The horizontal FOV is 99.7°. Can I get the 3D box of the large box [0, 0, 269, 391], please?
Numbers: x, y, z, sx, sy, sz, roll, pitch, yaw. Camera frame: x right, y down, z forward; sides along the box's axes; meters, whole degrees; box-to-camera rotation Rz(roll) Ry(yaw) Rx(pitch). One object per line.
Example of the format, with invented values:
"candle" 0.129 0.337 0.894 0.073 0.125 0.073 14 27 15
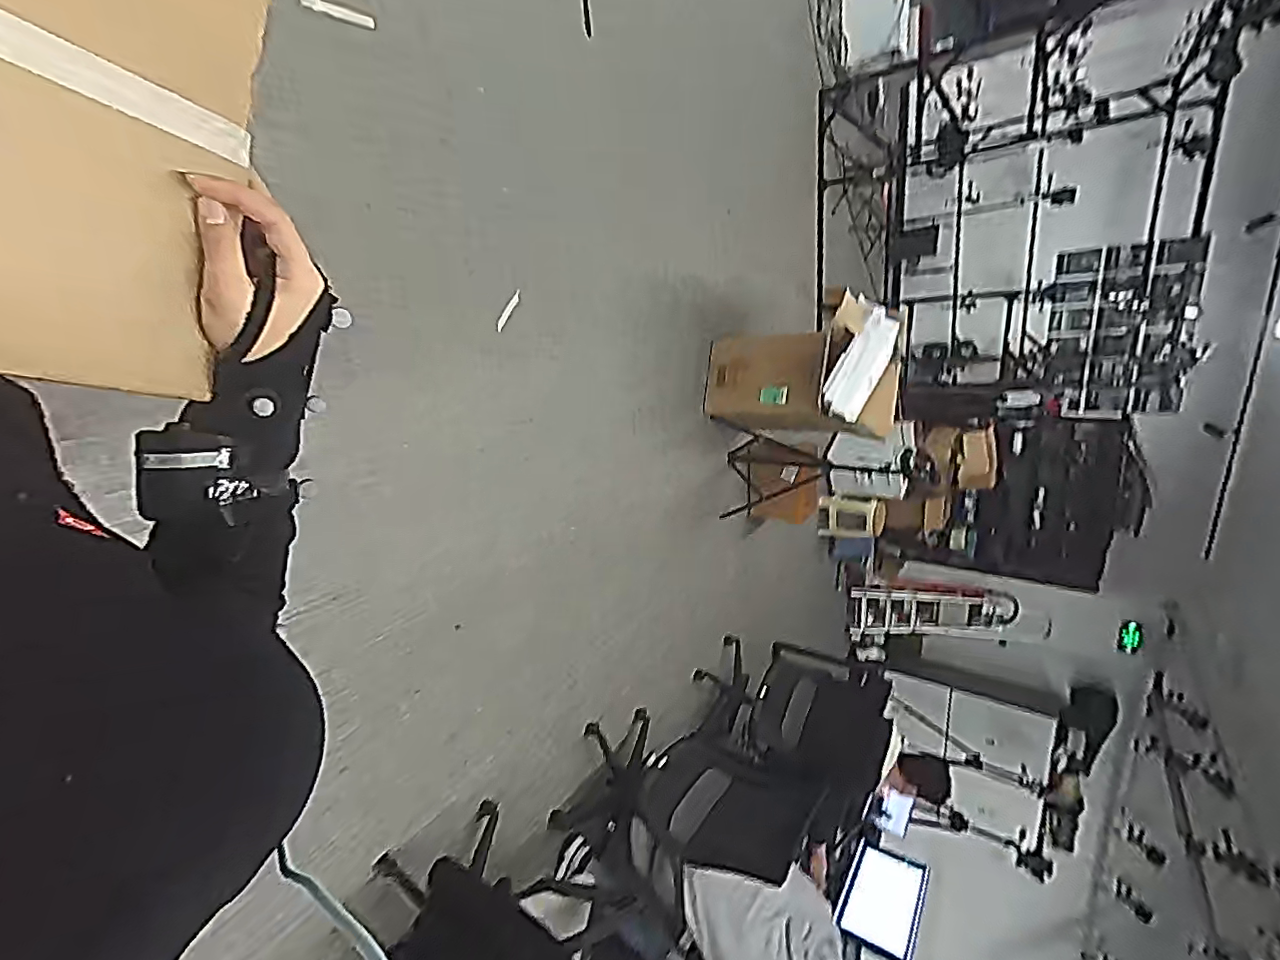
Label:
"large box" -0.481 -0.241 0.265 0.408 0.320 0.320 3 101 -56
